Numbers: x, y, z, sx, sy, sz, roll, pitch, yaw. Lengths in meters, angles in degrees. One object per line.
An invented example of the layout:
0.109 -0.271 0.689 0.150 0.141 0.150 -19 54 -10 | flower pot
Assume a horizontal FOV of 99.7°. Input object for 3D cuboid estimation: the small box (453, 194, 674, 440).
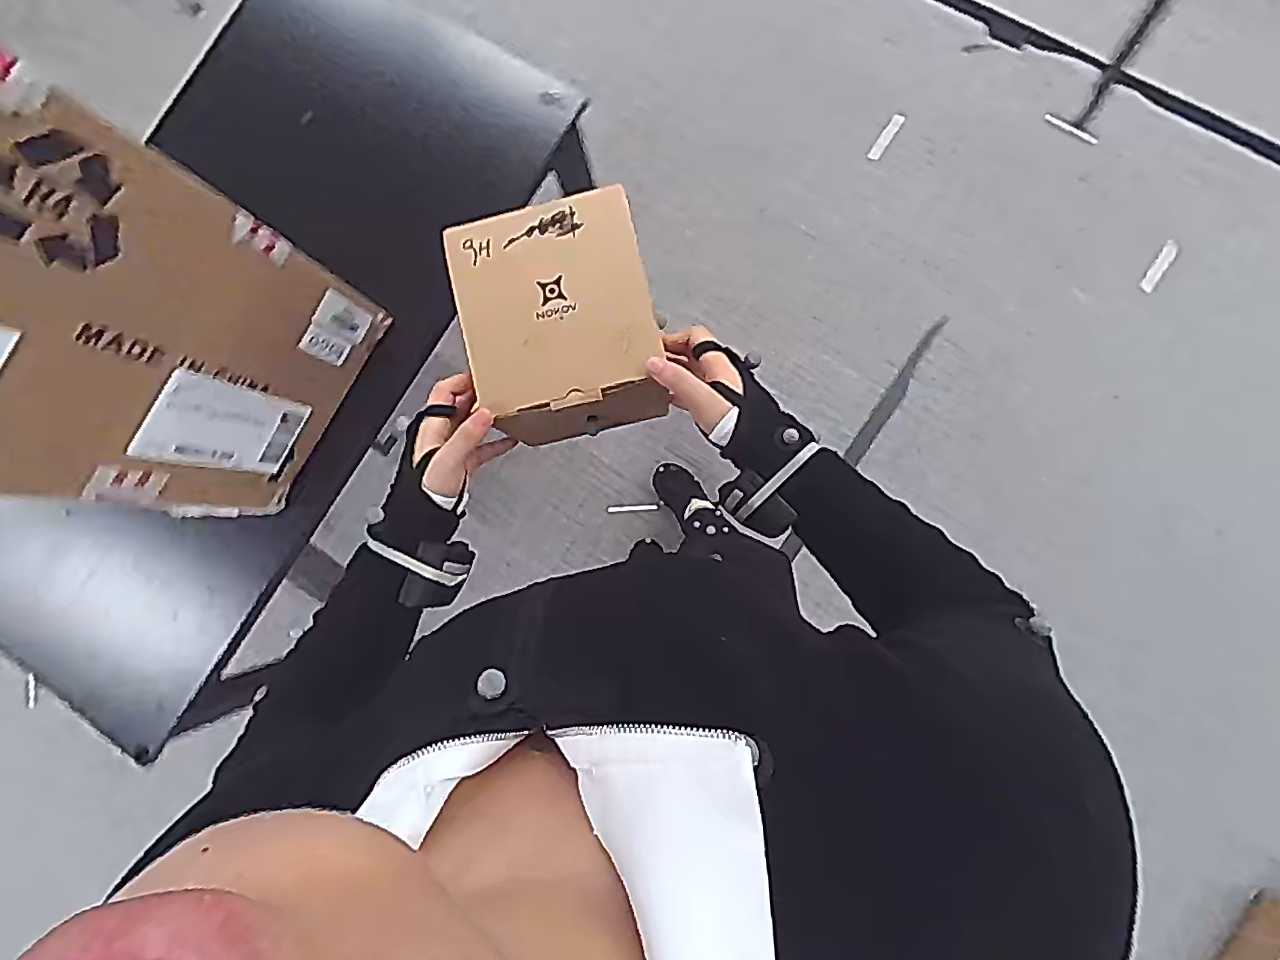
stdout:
-0.062 -0.142 0.544 0.168 0.176 0.179 -13 86 3 | small box
